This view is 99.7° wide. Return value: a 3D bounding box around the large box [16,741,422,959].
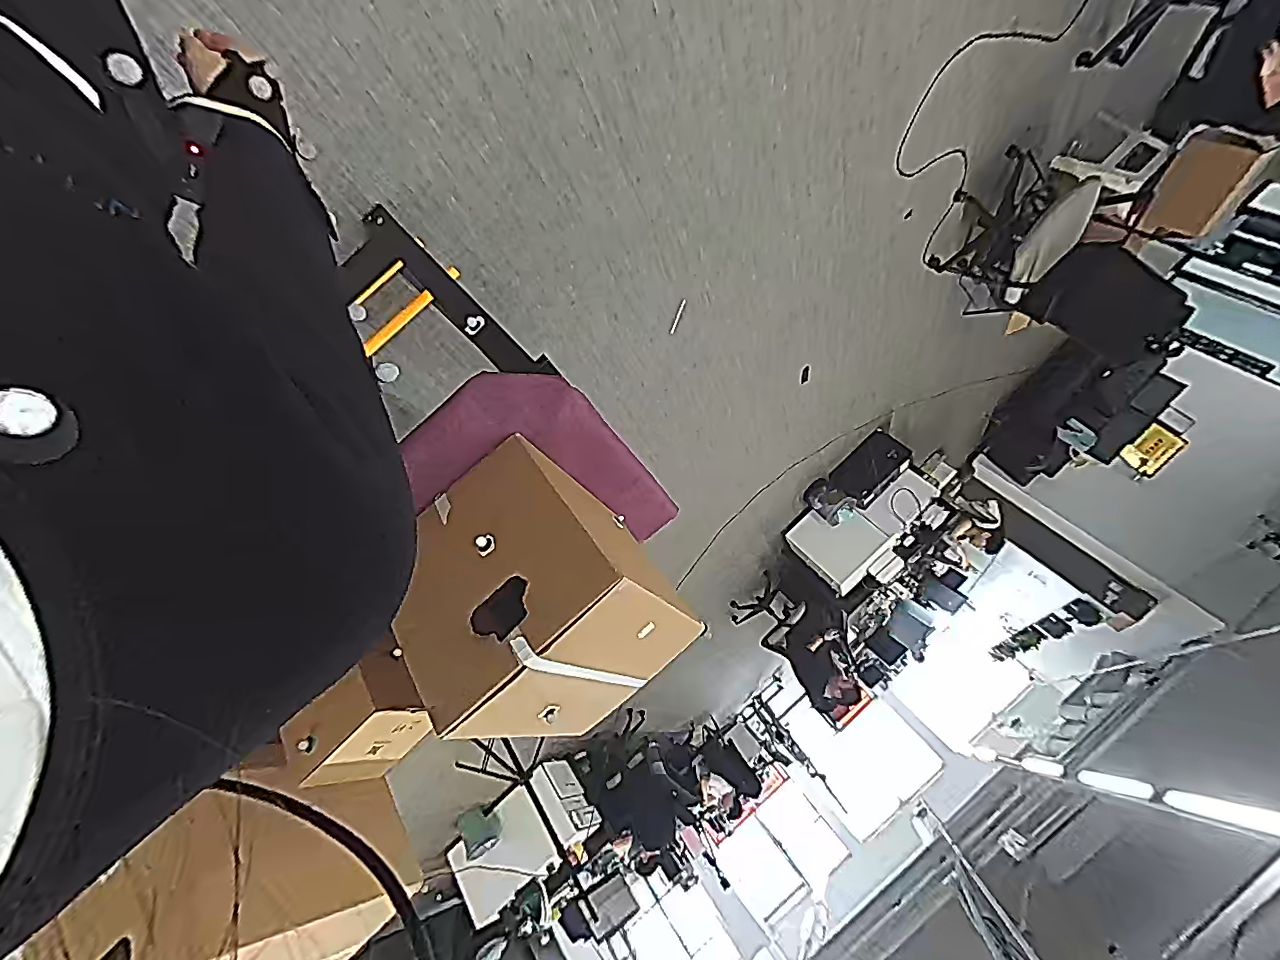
[{"bbox_3d":[-0.668,0.676,0.902,0.320,0.320,0.408,-43,150,-1],"label":"large box"}]
